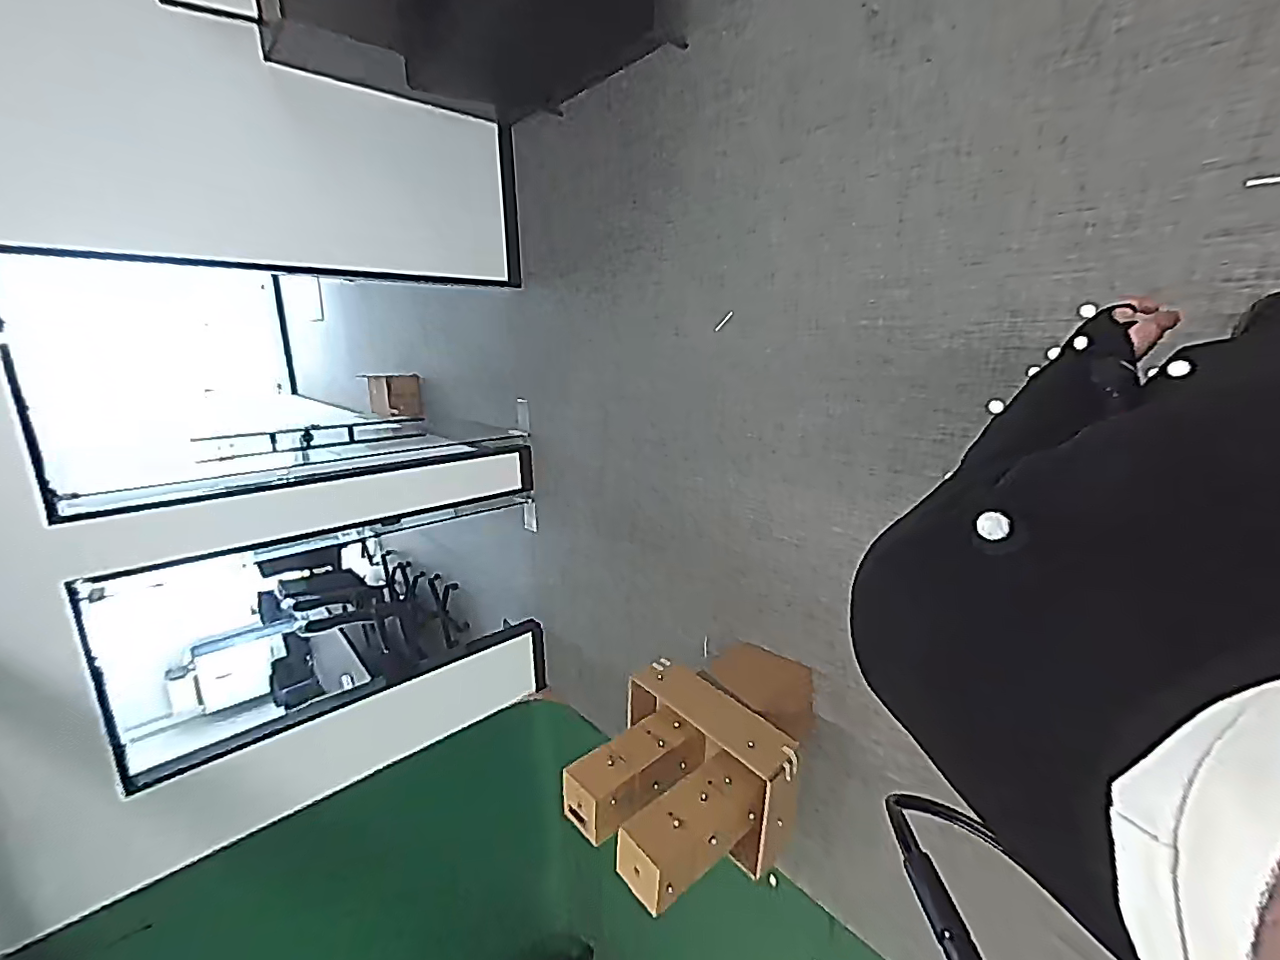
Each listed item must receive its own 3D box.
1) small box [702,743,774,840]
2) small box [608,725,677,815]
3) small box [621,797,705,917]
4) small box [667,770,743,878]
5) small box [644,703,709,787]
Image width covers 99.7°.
[{"bbox_3d":[0.308,0.990,1.726,0.168,0.176,0.179,21,116,45],"label":"small box"},{"bbox_3d":[0.010,0.963,1.811,0.168,0.176,0.179,16,113,45],"label":"small box"},{"bbox_3d":[0.066,1.046,1.513,0.168,0.176,0.179,23,116,44],"label":"small box"},{"bbox_3d":[0.189,1.016,1.616,0.168,0.176,0.179,22,117,45],"label":"small box"},{"bbox_3d":[0.128,0.932,1.920,0.168,0.176,0.179,18,114,45],"label":"small box"}]
